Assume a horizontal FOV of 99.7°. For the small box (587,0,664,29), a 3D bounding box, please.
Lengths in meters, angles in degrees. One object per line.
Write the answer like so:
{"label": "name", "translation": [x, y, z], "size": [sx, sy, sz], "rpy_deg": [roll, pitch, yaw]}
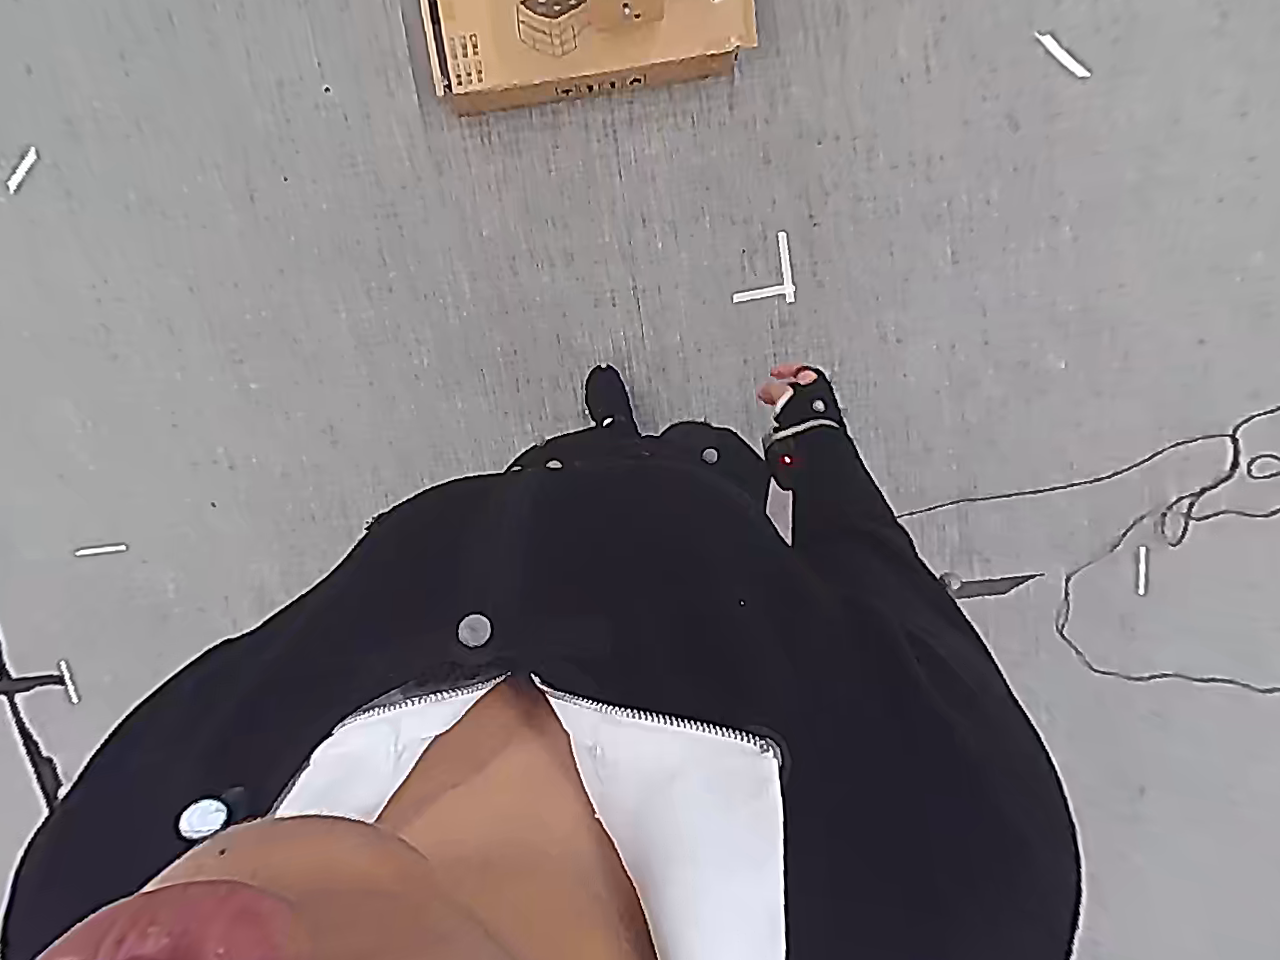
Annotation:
{"label": "small box", "translation": [-0.040, -1.088, 1.113], "size": [0.168, 0.176, 0.179], "rpy_deg": [-8, 99, 3]}
